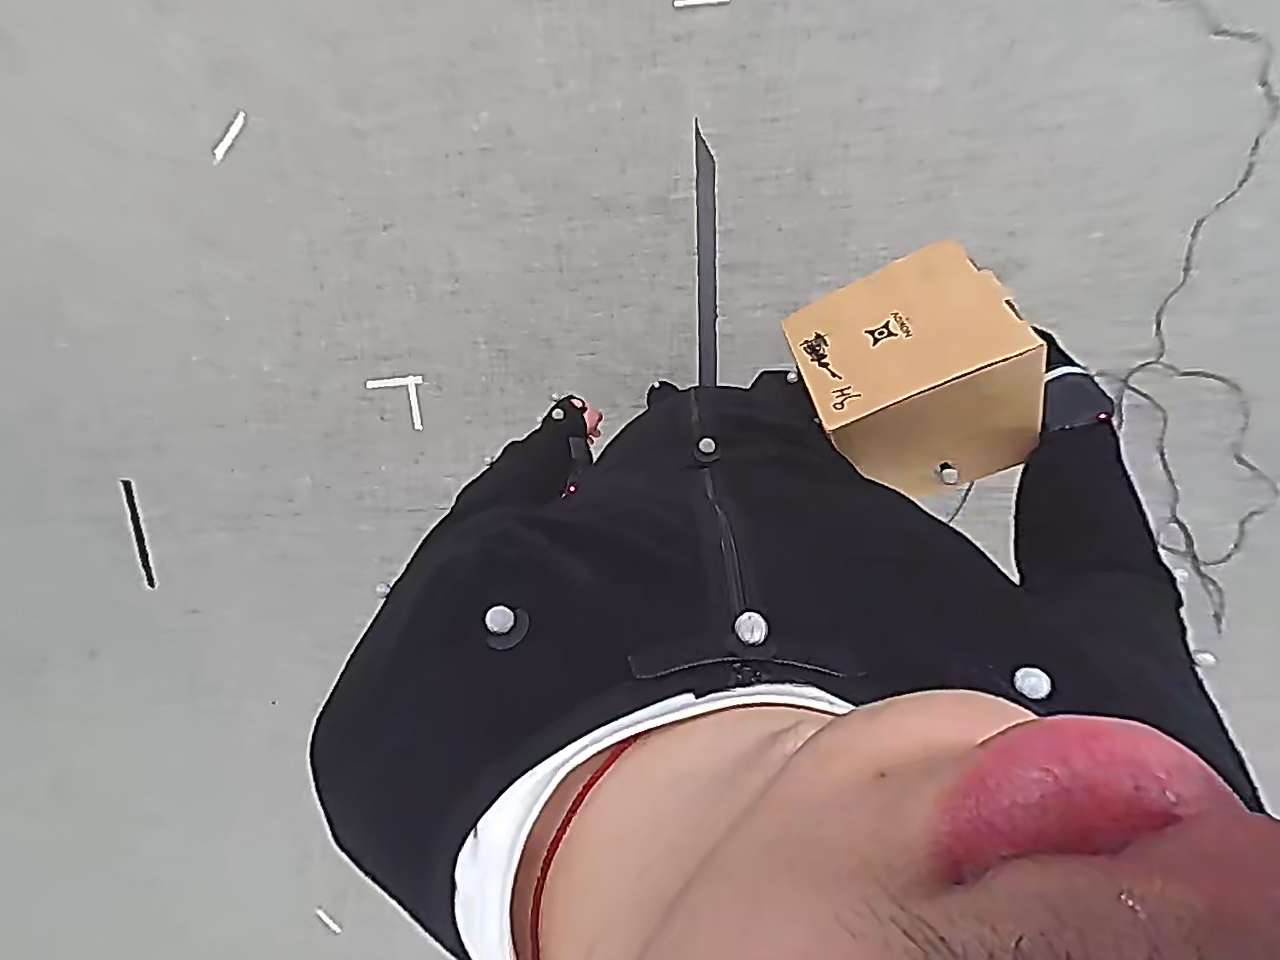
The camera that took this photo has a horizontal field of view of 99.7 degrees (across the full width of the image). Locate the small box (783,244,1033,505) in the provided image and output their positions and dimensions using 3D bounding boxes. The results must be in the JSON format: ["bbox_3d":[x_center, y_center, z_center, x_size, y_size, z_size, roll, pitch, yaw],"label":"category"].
[{"bbox_3d":[0.276,-0.101,0.572,0.179,0.168,0.176,-23,138,20],"label":"small box"}]
